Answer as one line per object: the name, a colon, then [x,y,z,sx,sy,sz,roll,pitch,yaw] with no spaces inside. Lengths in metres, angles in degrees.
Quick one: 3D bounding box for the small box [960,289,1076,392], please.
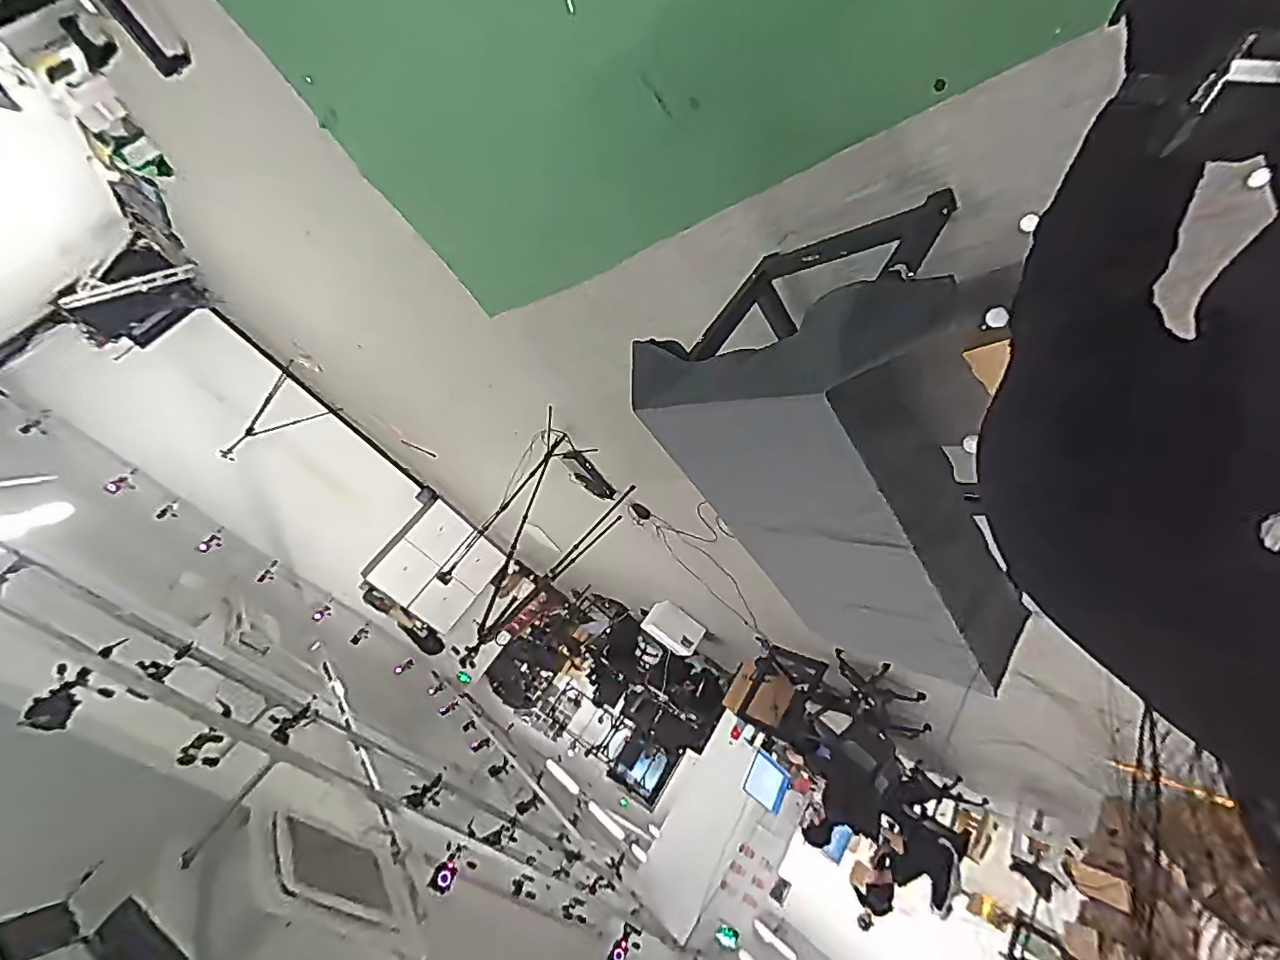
small box: [0.987,-0.360,1.410,0.168,0.176,0.179,43,158,-18]
